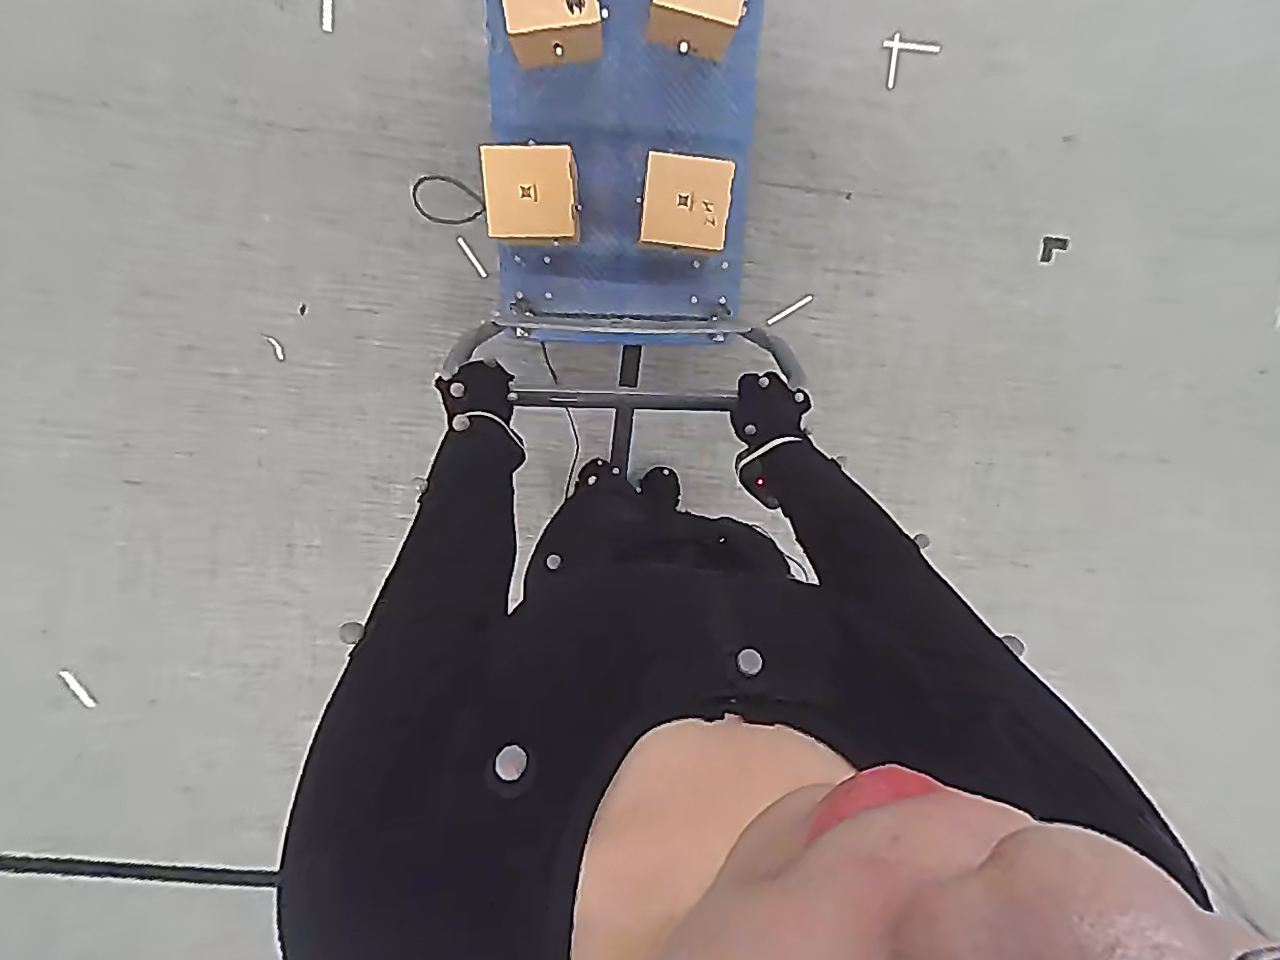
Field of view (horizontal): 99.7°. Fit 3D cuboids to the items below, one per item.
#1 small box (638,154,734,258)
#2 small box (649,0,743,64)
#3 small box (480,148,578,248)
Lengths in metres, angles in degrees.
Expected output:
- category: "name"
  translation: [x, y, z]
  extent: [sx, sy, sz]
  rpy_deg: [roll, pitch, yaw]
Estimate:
- category: "small box"
  translation: [0.090, -0.580, 1.165]
  extent: [0.179, 0.176, 0.168]
  rpy_deg: [5, 108, -4]
- category: "small box"
  translation: [0.114, -0.955, 1.044]
  extent: [0.168, 0.176, 0.179]
  rpy_deg: [11, 108, -6]
- category: "small box"
  translation: [-0.227, -0.590, 1.149]
  extent: [0.179, 0.176, 0.168]
  rpy_deg: [-2, 108, -3]
